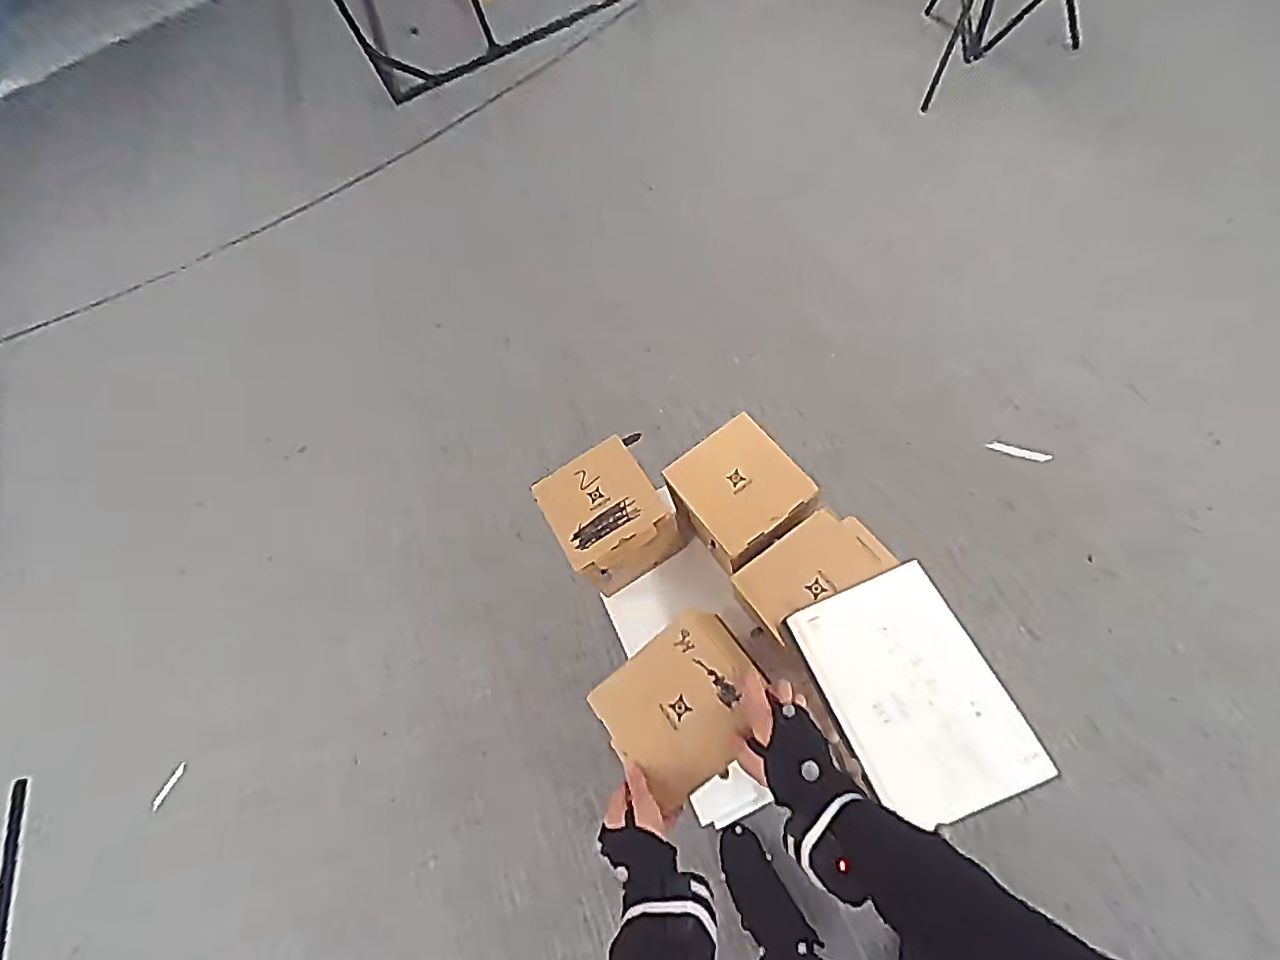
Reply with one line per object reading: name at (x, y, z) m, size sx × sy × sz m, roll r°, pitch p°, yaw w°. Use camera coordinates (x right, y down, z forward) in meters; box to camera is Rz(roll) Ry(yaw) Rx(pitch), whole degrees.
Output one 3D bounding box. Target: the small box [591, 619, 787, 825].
small box at (0.073, 0.305, 0.715) m, size 0.179 × 0.176 × 0.168 m, roll -43°, pitch 65°, yaw 6°
